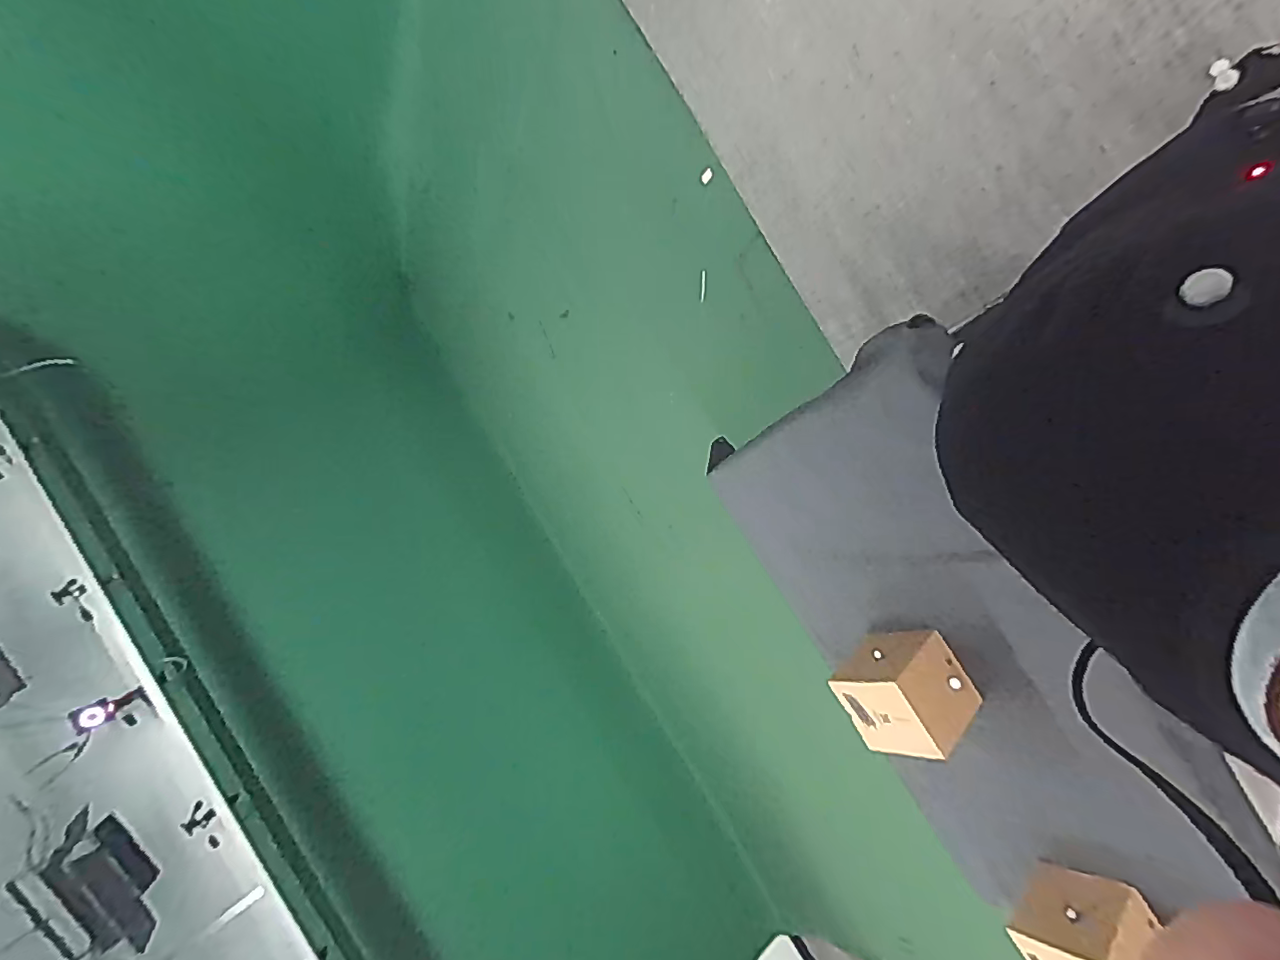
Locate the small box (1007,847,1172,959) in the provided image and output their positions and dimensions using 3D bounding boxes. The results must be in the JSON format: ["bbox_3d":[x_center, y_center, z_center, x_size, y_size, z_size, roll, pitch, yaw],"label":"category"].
[{"bbox_3d":[0.854,0.842,1.025,0.168,0.176,0.179,56,148,4],"label":"small box"}]

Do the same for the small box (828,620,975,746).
[{"bbox_3d":[0.528,0.402,1.091,0.168,0.176,0.179,57,148,1],"label":"small box"}]
